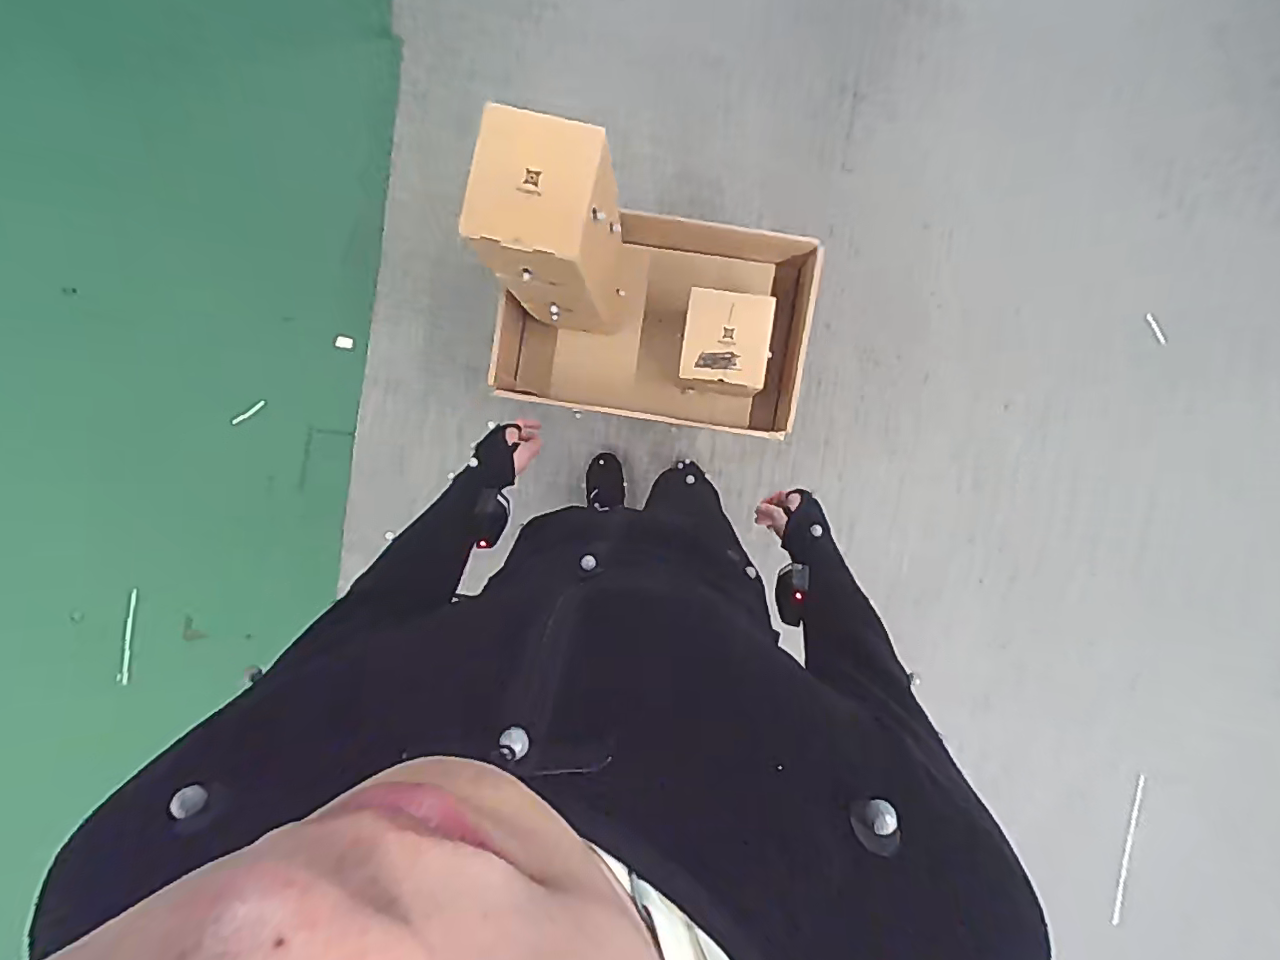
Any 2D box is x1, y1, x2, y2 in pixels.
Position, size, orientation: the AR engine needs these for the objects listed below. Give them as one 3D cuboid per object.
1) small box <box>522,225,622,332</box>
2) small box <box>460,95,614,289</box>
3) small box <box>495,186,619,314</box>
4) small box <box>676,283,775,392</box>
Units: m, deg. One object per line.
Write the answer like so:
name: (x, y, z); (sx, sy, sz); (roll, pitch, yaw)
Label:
small box: (-0.131, -0.421, 1.113); (0.168, 0.176, 0.179); (11, 93, 1)
small box: (-0.137, -0.403, 0.787); (0.168, 0.176, 0.179); (14, 94, 1)
small box: (-0.135, -0.412, 0.949); (0.168, 0.176, 0.179); (13, 94, 2)
small box: (0.167, -0.282, 1.109); (0.168, 0.176, 0.179); (8, 92, 1)
